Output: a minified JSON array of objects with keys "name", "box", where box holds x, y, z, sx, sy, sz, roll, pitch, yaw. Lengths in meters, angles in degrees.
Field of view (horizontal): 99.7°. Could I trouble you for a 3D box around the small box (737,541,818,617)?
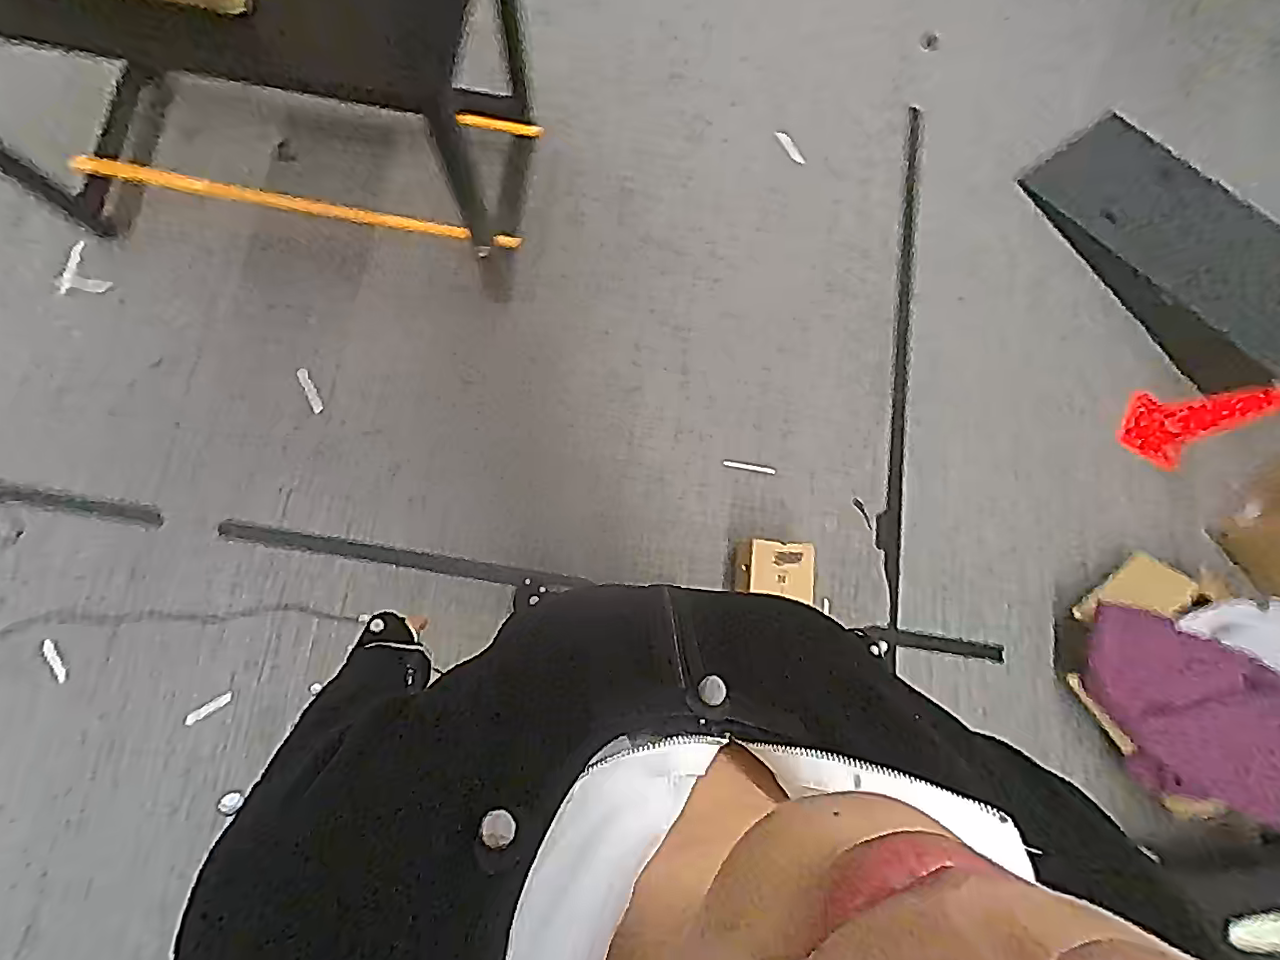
[{"name":"small box","box":[0.364,0.264,1.448,0.168,0.176,0.179,6,80,-3]}]
